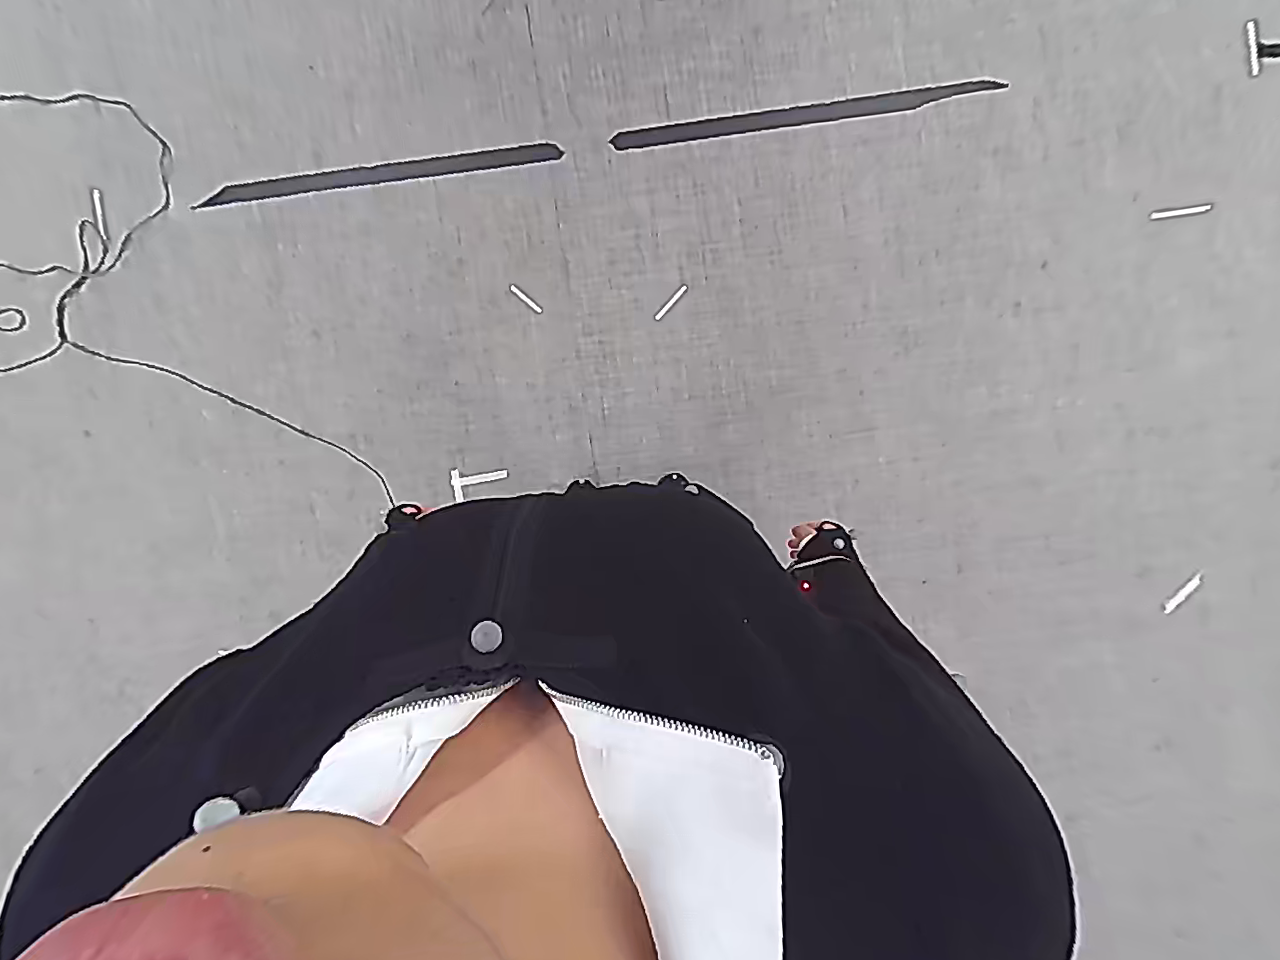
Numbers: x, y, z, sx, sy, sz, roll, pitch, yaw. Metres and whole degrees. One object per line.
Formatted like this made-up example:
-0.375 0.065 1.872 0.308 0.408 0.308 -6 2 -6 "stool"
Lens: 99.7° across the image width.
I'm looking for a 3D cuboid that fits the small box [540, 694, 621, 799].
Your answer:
-0.142 0.647 1.337 0.168 0.176 0.179 -8 92 3 "small box"
